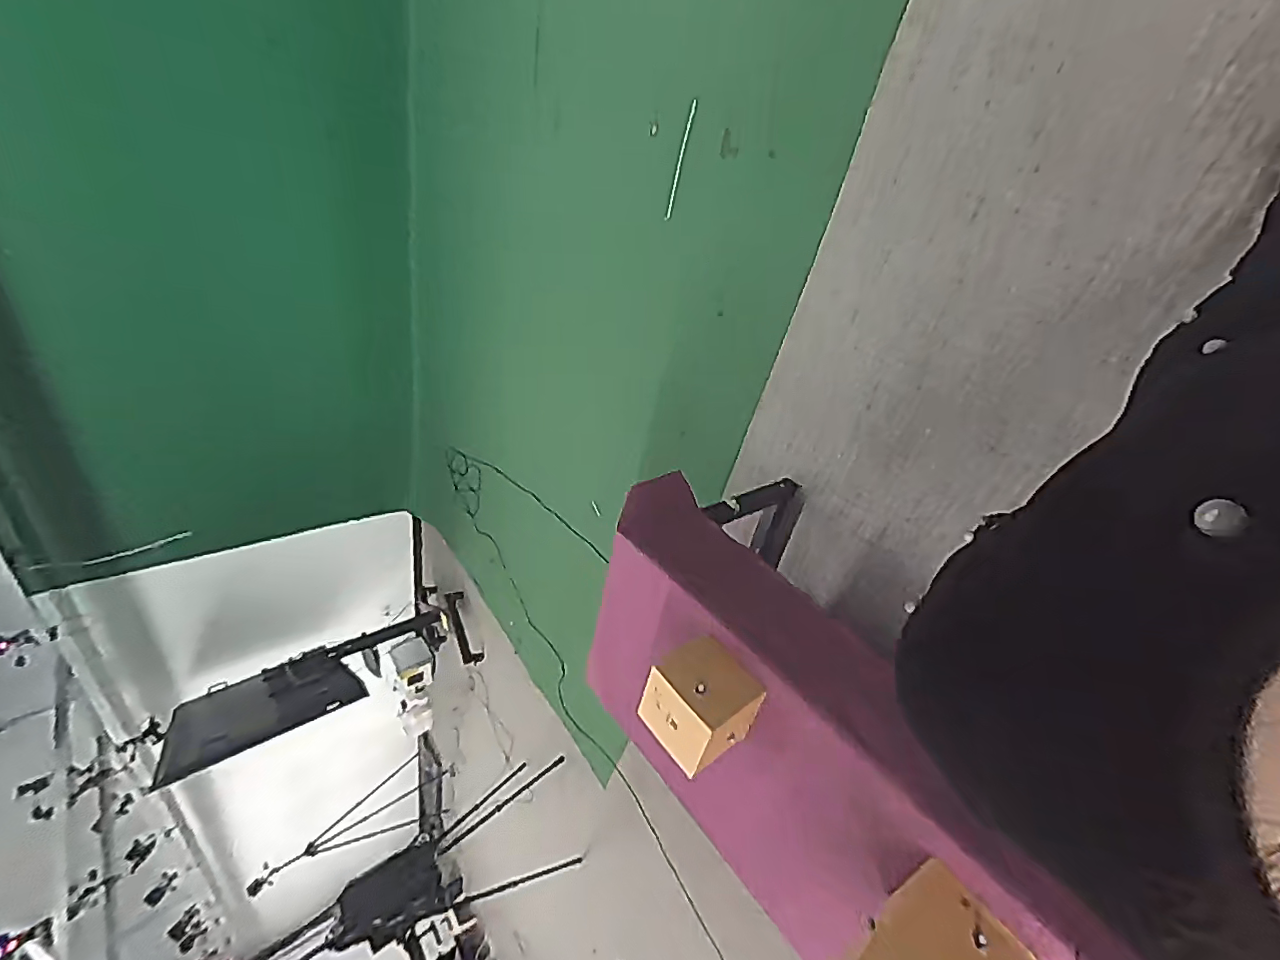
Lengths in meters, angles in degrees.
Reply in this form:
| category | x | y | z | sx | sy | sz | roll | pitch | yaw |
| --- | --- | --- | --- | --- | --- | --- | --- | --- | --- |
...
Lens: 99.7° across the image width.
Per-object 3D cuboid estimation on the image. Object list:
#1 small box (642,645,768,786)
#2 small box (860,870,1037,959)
| category | x | y | z | sx | sy | sz | roll | pitch | yaw |
| --- | --- | --- | --- | --- | --- | --- | --- | --- | --- |
| small box | 0.136 | 0.478 | 1.123 | 0.179 | 0.176 | 0.168 | 40 | 130 | 36 |
| small box | 0.460 | 0.750 | 0.819 | 0.168 | 0.176 | 0.179 | 40 | 130 | 36 |
